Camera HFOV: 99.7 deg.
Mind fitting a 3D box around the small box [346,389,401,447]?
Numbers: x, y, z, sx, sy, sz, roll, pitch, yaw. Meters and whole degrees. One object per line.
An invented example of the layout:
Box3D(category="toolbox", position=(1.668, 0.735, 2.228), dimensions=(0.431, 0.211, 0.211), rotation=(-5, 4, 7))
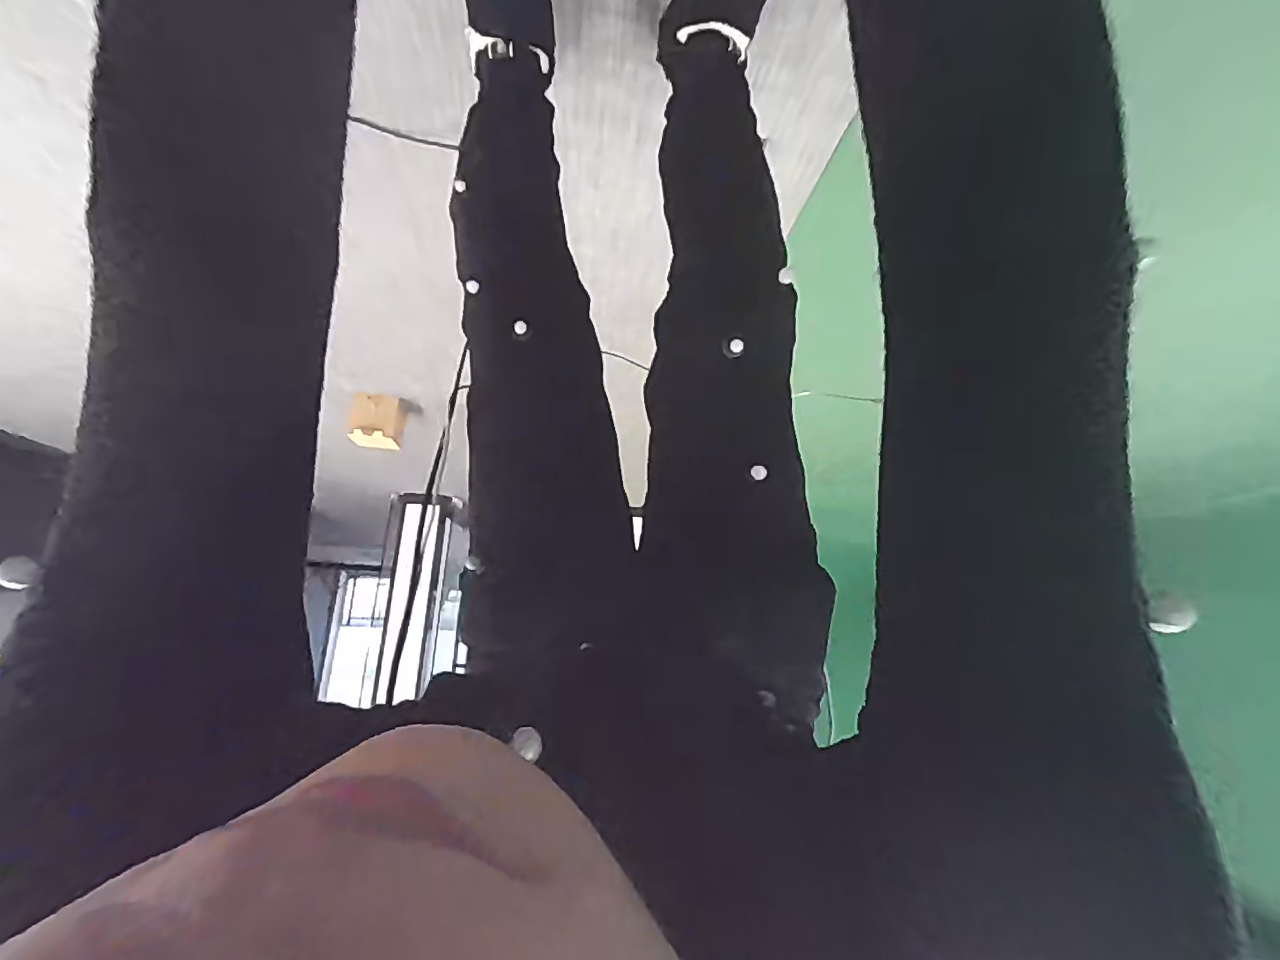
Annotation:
Box3D(category="small box", position=(-1.048, -0.243, 2.136), dimensions=(0.168, 0.176, 0.179), rotation=(5, 164, -18))
